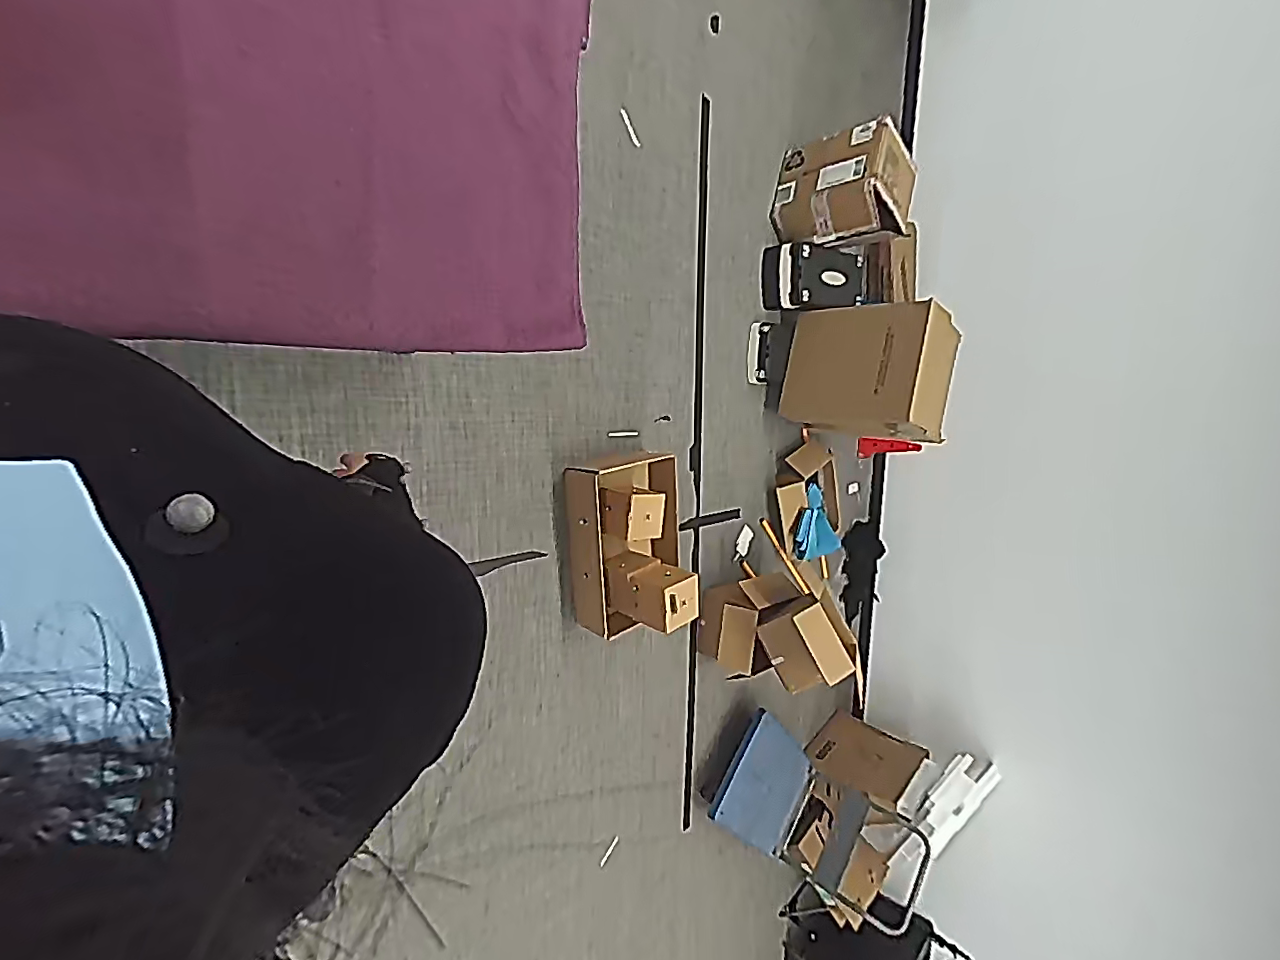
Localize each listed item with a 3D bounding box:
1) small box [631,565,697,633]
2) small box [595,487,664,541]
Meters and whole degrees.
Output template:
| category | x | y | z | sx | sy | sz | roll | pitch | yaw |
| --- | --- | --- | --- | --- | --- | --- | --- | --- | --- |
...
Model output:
| category | x | y | z | sx | sy | sz | roll | pitch | yaw |
| --- | --- | --- | --- | --- | --- | --- | --- | --- | --- |
| small box | 0.080 | 0.413 | 1.912 | 0.179 | 0.176 | 0.168 | -14 | 107 | -44 |
| small box | -0.040 | 0.118 | 1.975 | 0.179 | 0.176 | 0.168 | 0 | 99 | -45 |
